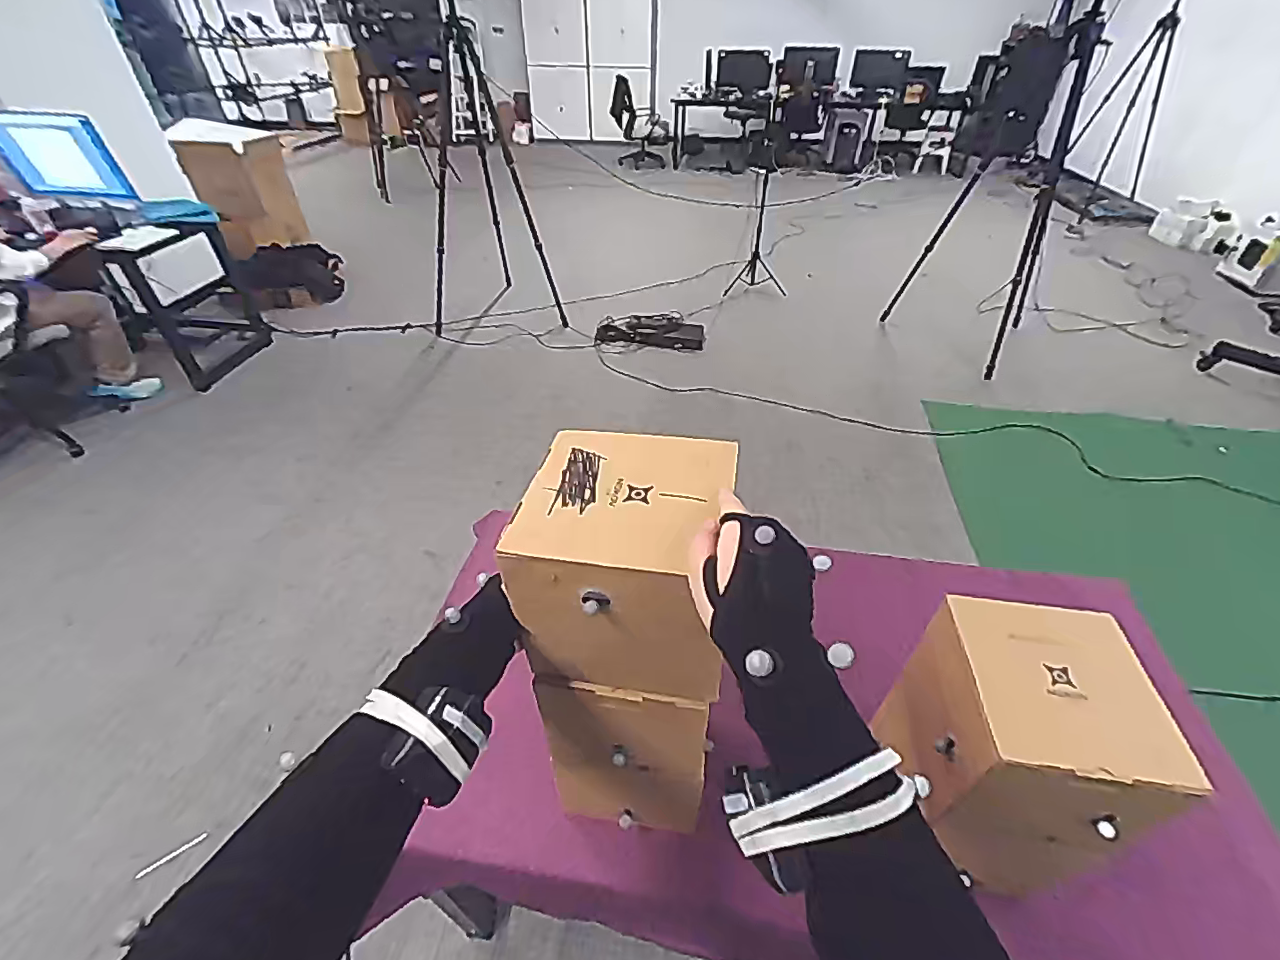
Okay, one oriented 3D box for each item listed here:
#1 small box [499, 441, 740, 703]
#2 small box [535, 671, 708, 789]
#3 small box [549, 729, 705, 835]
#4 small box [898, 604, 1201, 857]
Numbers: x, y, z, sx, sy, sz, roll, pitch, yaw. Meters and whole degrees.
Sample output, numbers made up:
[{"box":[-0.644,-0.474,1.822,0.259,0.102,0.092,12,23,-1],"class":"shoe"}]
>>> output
[{"box":[-0.005,0.083,0.503,0.179,0.176,0.168,6,40,9],"class":"small box"},{"box":[-0.007,0.212,0.610,0.168,0.176,0.179,6,40,8],"class":"small box"},{"box":[-0.009,0.342,0.712,0.179,0.176,0.168,6,40,5],"class":"small box"},{"box":[0.389,0.258,0.560,0.168,0.176,0.179,7,41,7],"class":"small box"}]
